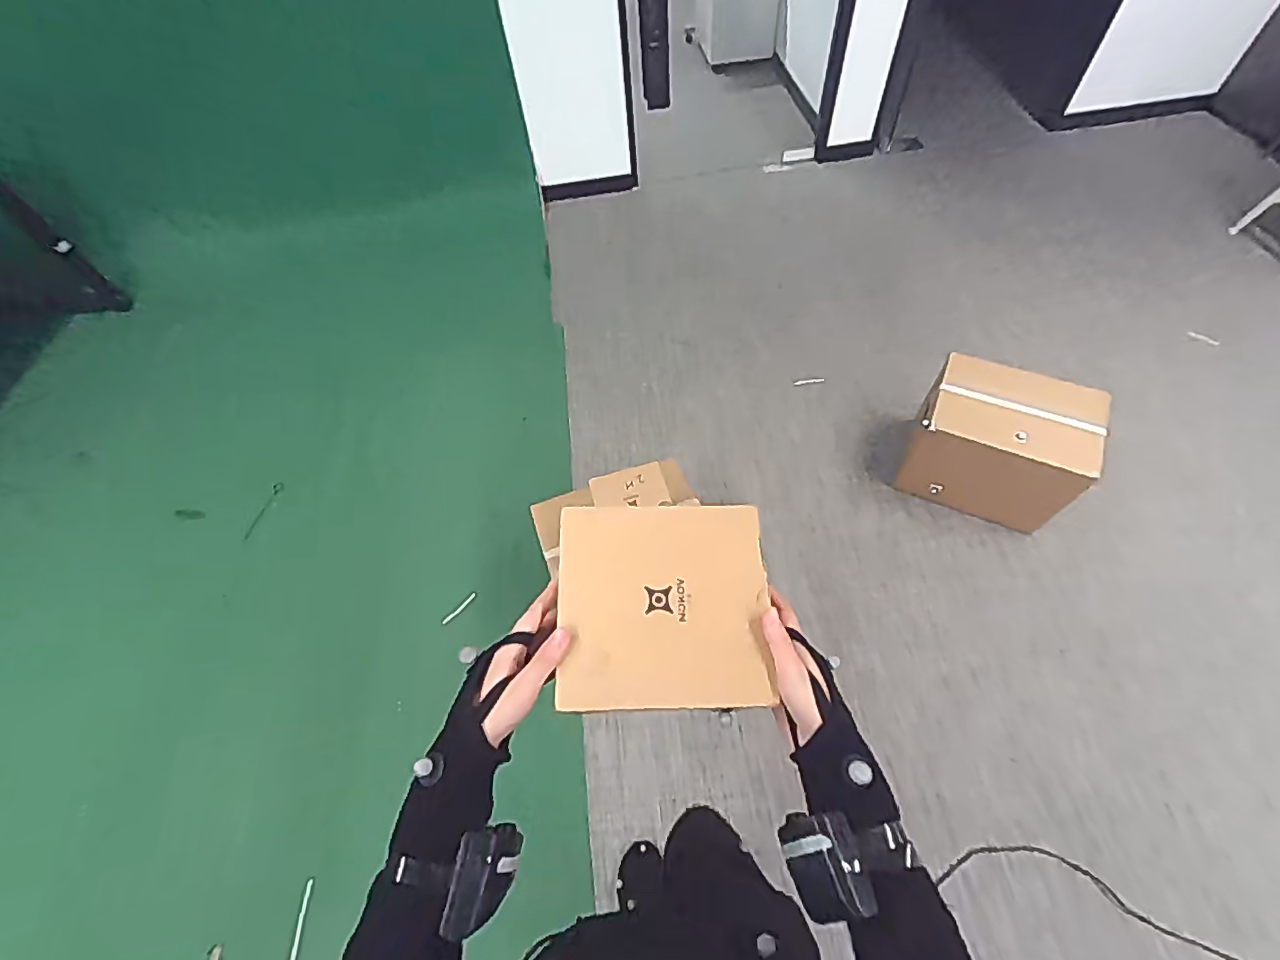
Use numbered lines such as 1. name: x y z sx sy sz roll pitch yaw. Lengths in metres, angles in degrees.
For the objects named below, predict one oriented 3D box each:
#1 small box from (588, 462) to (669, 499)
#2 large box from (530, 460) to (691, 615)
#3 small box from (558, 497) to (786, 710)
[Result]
1. small box: -0.014 0.091 1.232 0.168 0.176 0.179 -14 57 -6
2. large box: -0.034 0.210 1.452 0.408 0.320 0.320 -20 57 -7
3. small box: 0.019 0.124 0.511 0.179 0.176 0.168 0 66 -4
